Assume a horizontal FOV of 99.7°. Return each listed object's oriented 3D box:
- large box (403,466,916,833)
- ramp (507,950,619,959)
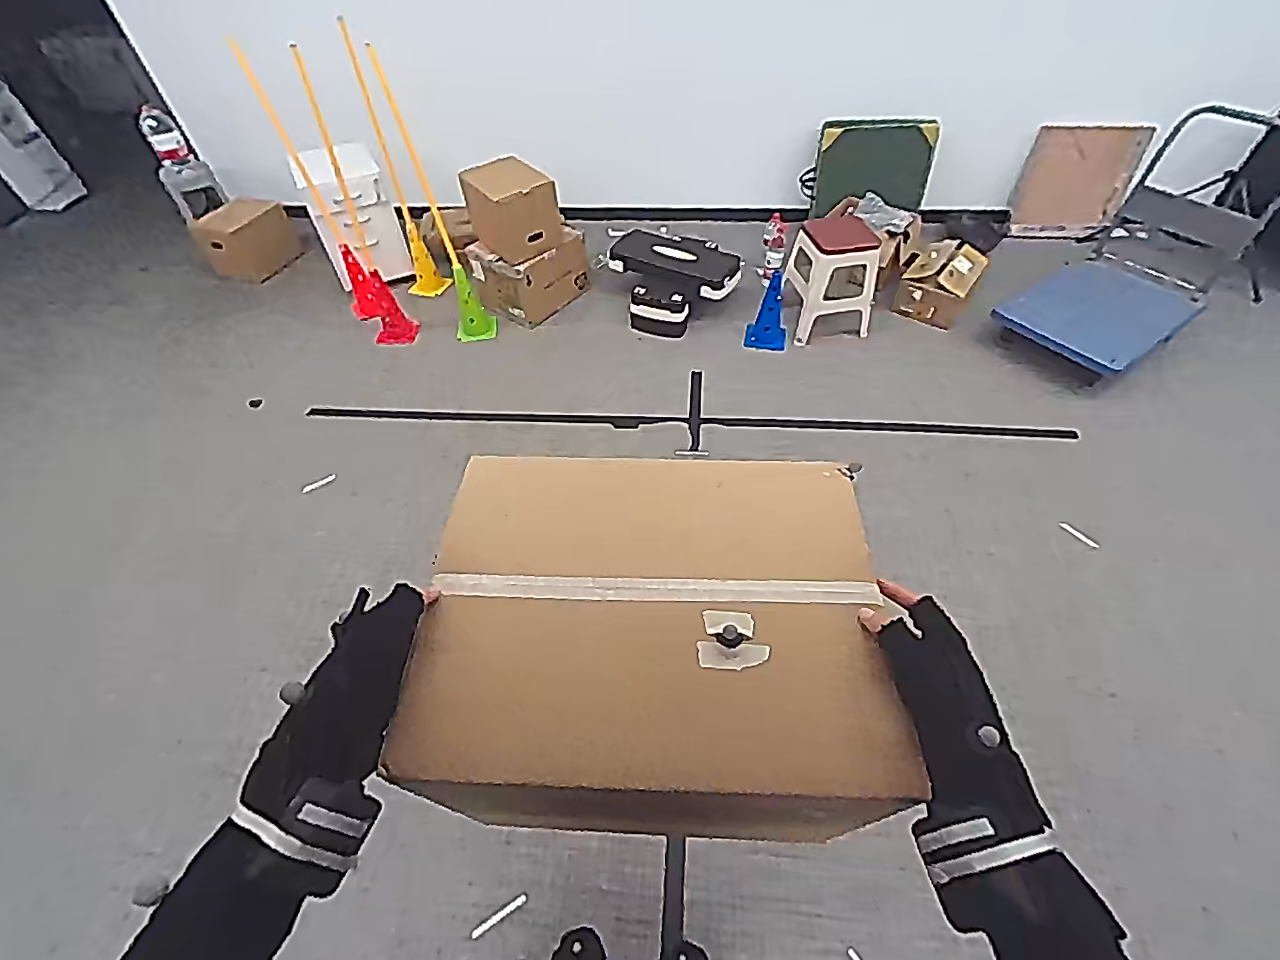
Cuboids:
[{"bbox_3d":[0.018,0.200,0.619,0.408,0.320,0.320,2,52,2],"label":"large box"},{"bbox_3d":[-0.064,1.419,0.866,0.509,0.206,0.991,2,50,2],"label":"ramp"}]
